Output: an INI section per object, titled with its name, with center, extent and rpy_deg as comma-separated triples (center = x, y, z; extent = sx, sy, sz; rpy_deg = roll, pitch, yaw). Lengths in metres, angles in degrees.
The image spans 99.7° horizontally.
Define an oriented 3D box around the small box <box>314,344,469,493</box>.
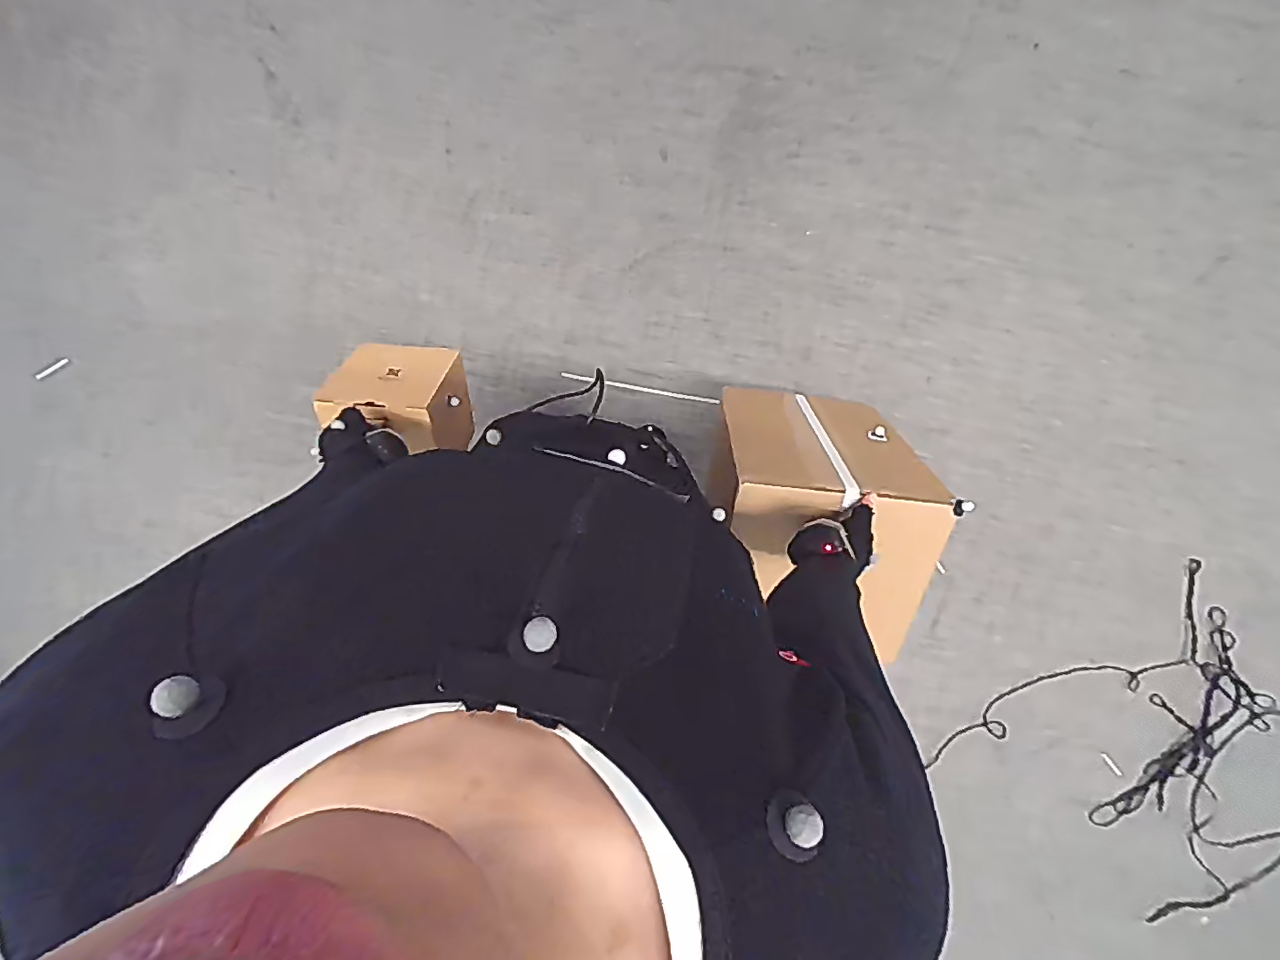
[small box]
center = -0.389, -0.102, 0.888
extent = 0.168, 0.179, 0.176
rpy_deg = 4, 131, -1
